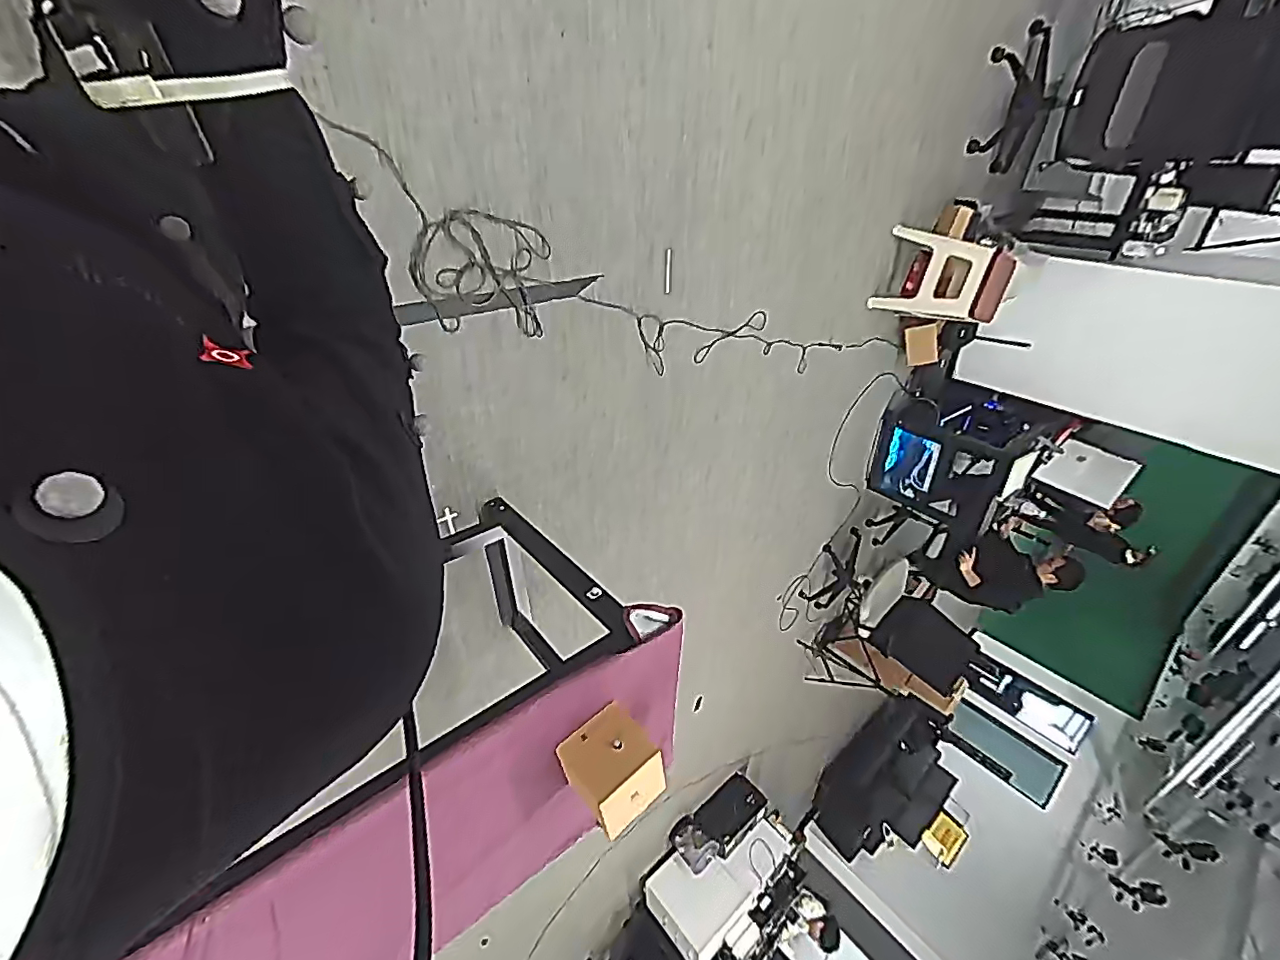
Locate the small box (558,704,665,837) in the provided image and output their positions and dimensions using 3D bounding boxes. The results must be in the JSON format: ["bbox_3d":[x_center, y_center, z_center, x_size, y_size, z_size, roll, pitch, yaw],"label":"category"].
[{"bbox_3d":[-0.064,0.637,1.210,0.168,0.176,0.179,-31,132,-28],"label":"small box"}]
